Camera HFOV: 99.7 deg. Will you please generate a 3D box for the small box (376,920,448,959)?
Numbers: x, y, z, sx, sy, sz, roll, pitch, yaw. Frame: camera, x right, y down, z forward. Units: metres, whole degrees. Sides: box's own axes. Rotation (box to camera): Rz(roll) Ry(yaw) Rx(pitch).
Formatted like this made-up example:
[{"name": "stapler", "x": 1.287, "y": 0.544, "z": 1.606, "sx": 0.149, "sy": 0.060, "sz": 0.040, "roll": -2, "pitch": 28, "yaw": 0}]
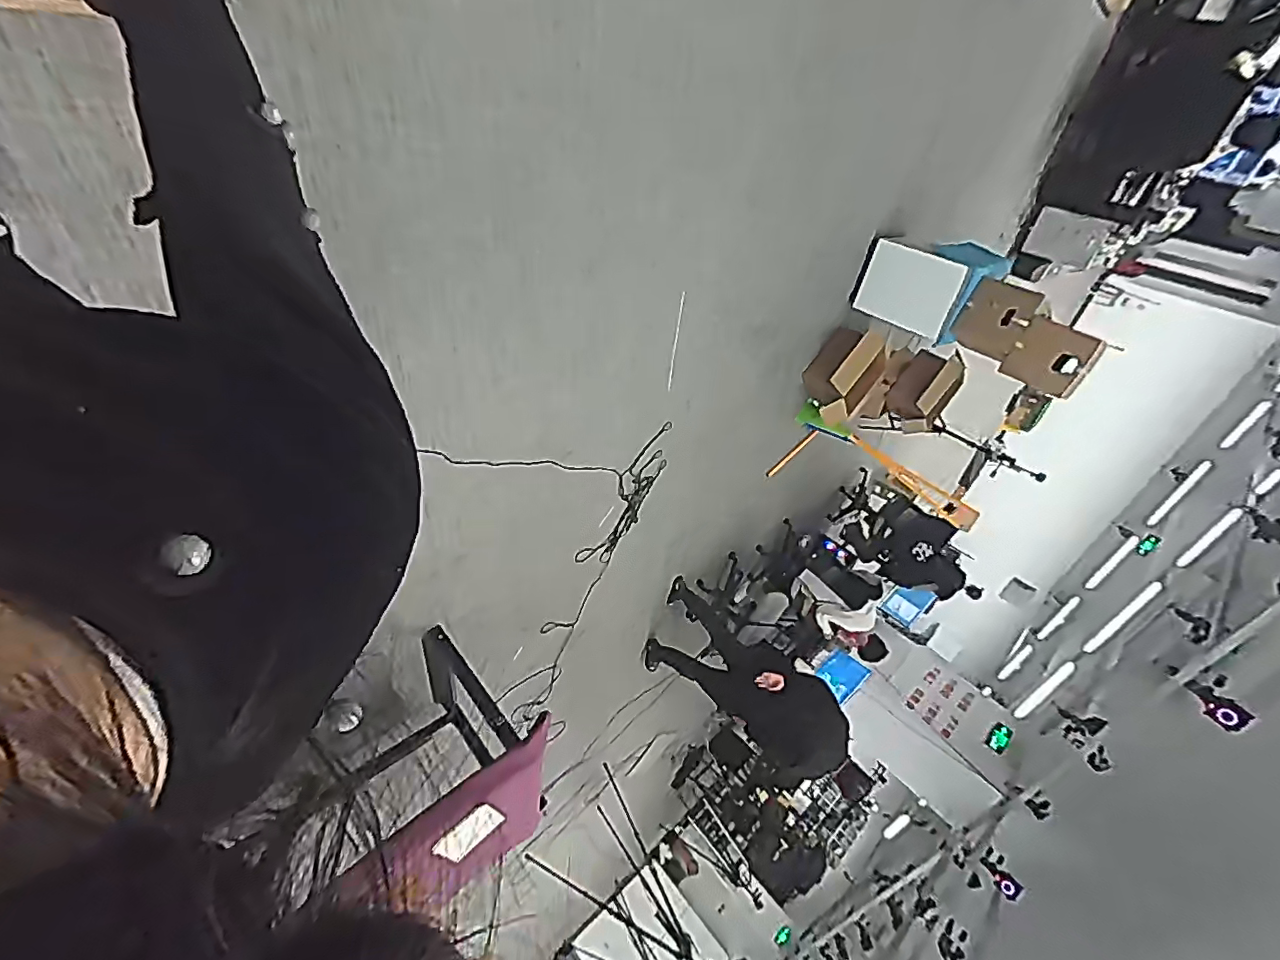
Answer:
[{"name": "small box", "x": -0.641, "y": 1.400, "z": 1.529, "sx": 0.168, "sy": 0.176, "sz": 0.179, "roll": -25, "pitch": 141, "yaw": -38}]
